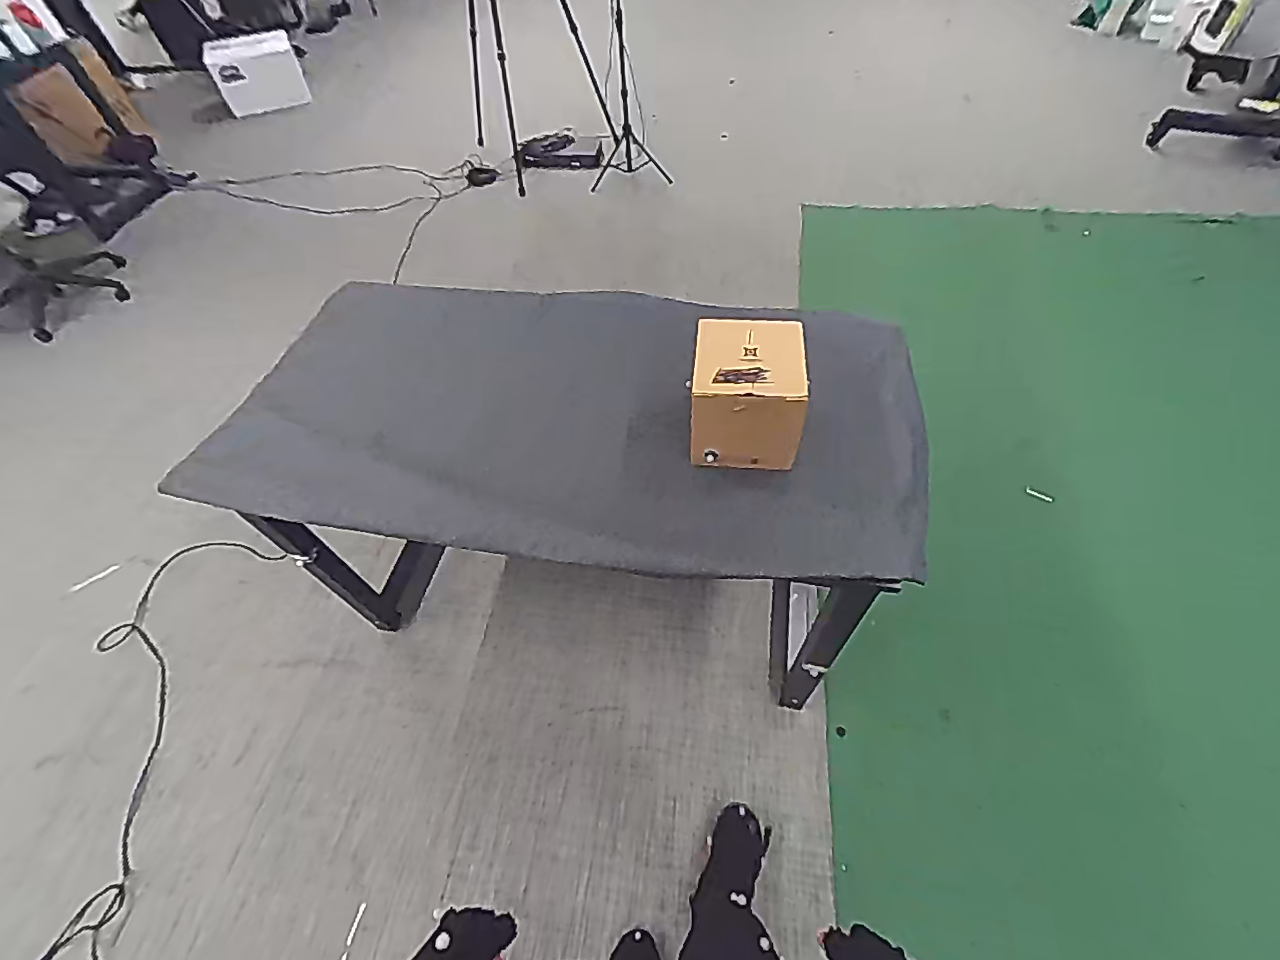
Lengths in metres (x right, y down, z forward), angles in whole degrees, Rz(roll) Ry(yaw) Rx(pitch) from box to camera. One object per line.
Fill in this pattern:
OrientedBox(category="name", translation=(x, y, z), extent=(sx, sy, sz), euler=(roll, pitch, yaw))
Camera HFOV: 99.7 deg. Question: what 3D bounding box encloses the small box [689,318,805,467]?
OrientedBox(category="small box", translation=(0.168, -0.138, 0.874), extent=(0.168, 0.176, 0.179), euler=(4, 53, 7))
